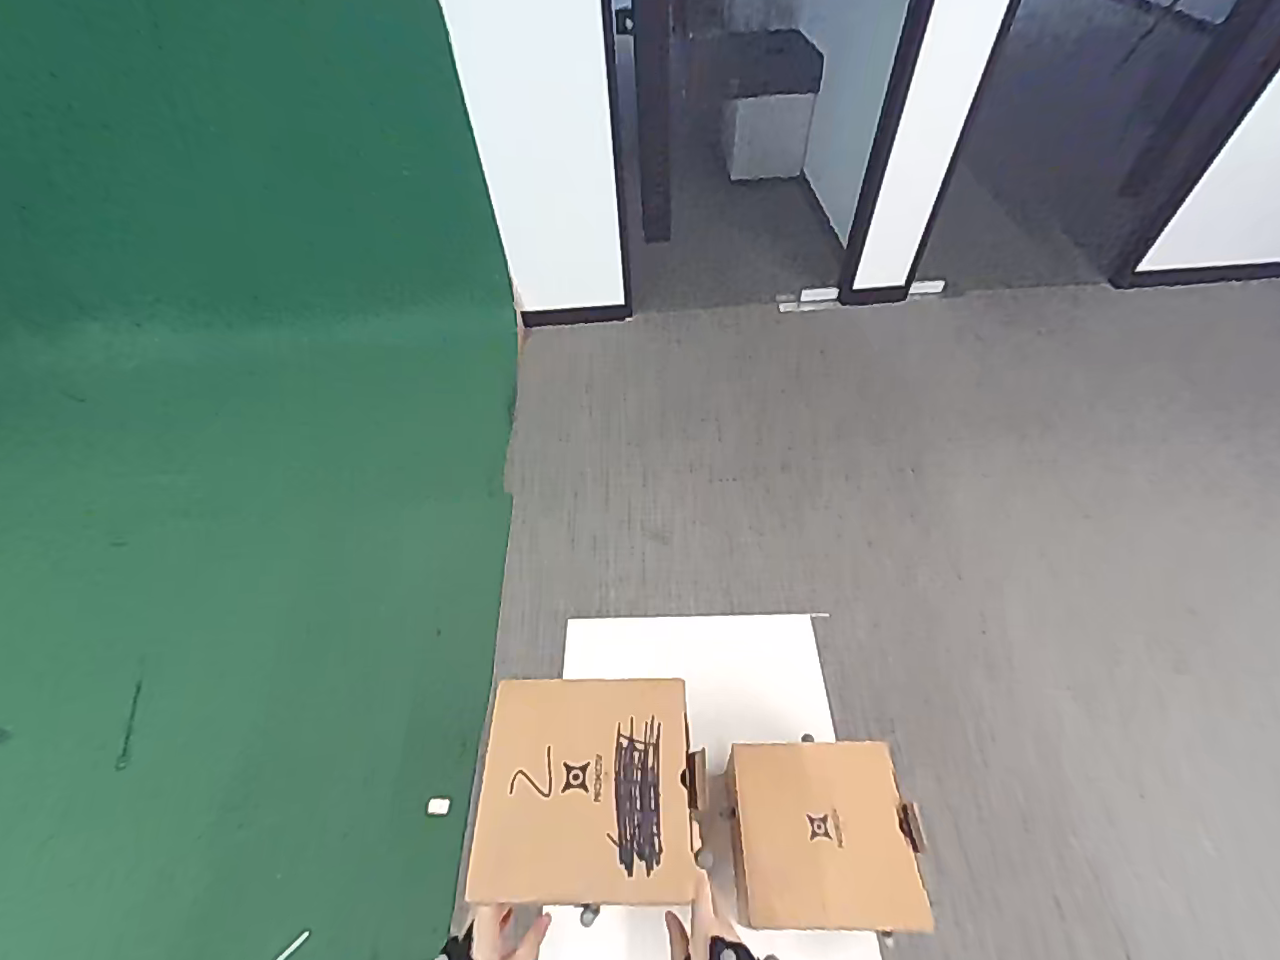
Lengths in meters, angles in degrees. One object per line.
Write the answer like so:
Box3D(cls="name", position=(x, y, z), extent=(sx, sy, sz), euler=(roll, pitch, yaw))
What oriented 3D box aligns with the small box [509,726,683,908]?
Box3D(cls="small box", position=(-0.040, 0.402, 0.642), extent=(0.179, 0.176, 0.168), euler=(-2, 52, 1))
